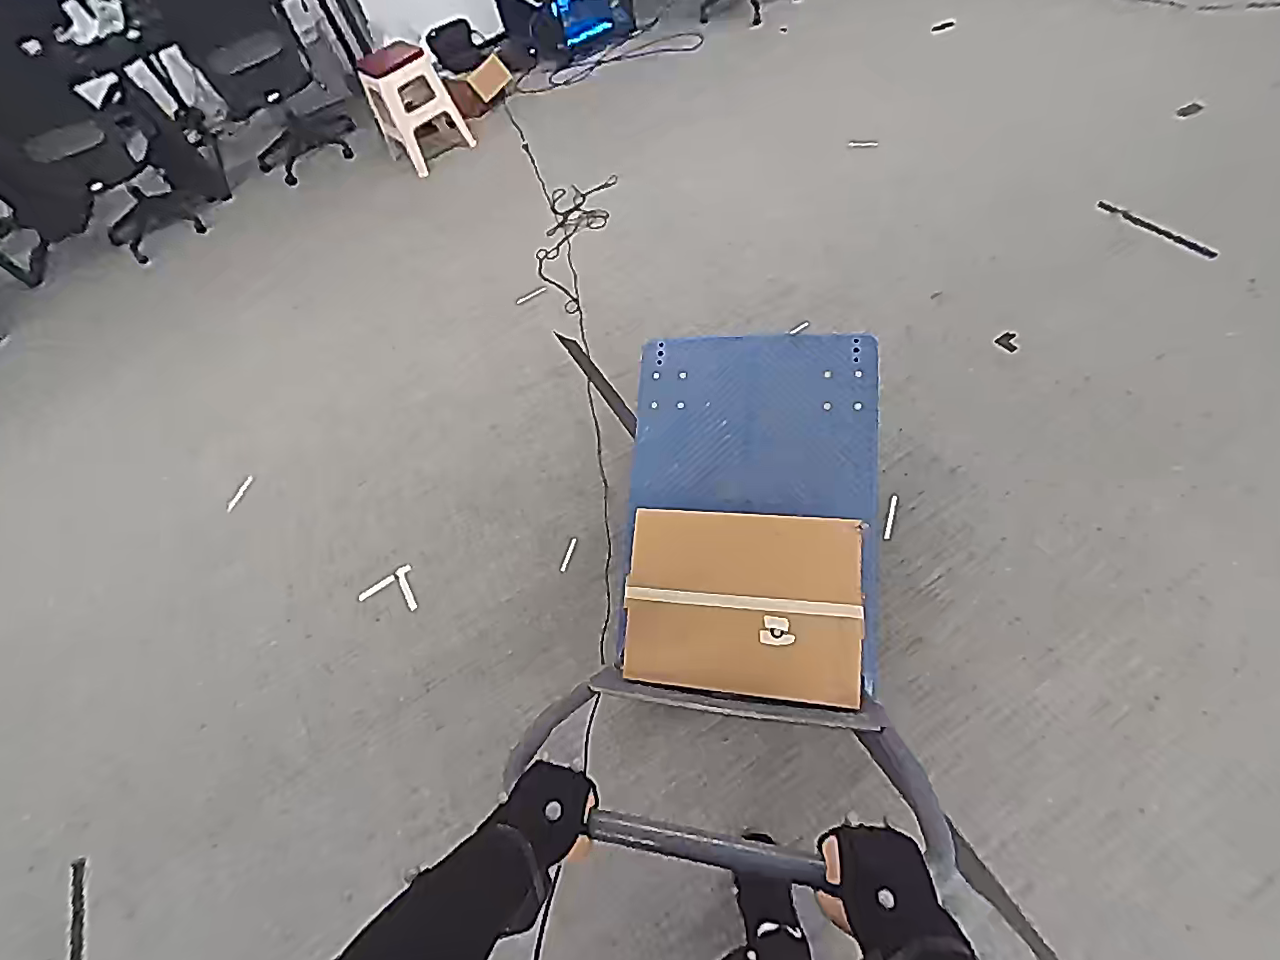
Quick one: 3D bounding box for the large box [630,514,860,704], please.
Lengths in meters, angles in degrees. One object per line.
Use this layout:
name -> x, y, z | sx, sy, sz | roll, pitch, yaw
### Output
large box -> 0.213, 0.251, 1.113 | 0.408, 0.320, 0.320 | 2, 80, 13
